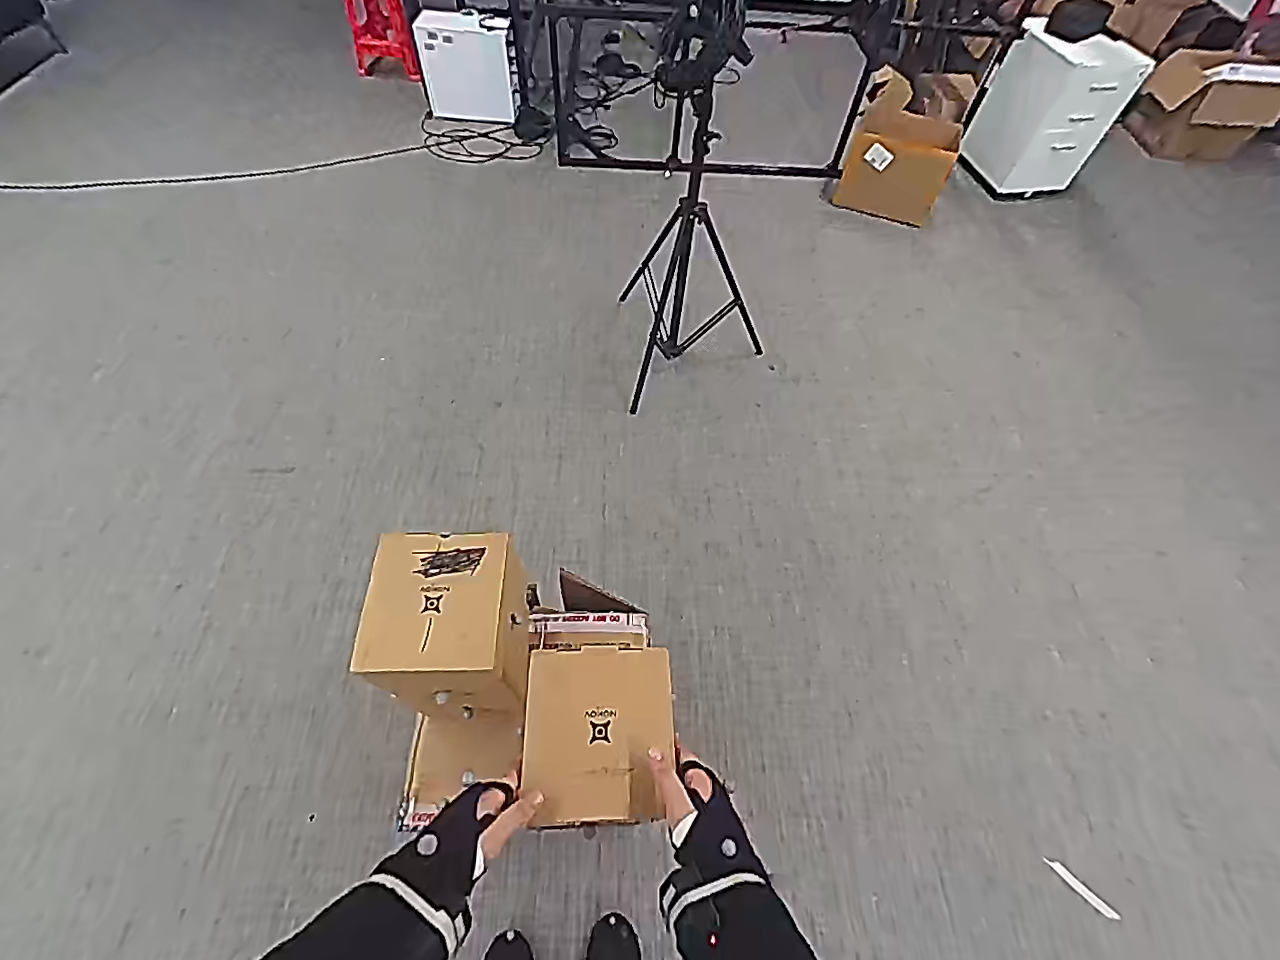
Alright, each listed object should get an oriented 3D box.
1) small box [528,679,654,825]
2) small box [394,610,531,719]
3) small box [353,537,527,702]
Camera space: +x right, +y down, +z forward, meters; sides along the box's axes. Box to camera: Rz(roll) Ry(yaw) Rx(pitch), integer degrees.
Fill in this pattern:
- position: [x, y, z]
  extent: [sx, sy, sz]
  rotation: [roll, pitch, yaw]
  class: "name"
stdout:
- position: [-0.068, 0.401, 0.799]
  extent: [0.168, 0.176, 0.179]
  rotation: [1, 58, -5]
  class: "small box"
- position: [-0.270, 0.273, 0.867]
  extent: [0.168, 0.176, 0.179]
  rotation: [-3, 59, -4]
  class: "small box"
- position: [-0.249, 0.190, 0.726]
  extent: [0.168, 0.176, 0.179]
  rotation: [0, 59, -2]
  class: "small box"
